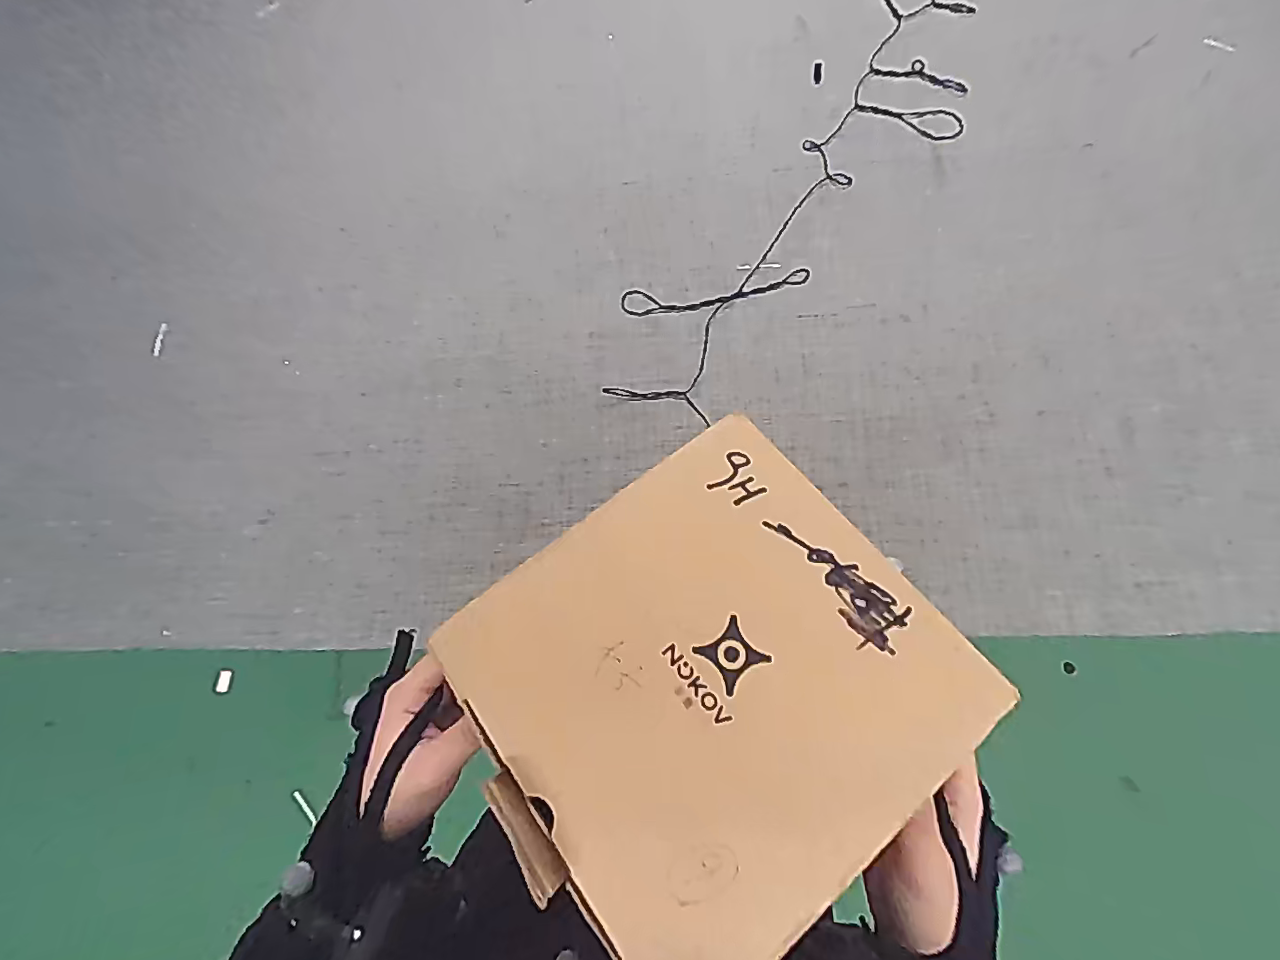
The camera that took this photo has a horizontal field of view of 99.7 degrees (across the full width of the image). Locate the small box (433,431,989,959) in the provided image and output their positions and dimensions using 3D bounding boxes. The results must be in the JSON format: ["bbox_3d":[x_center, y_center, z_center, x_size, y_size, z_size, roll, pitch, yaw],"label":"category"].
[{"bbox_3d":[0.029,0.113,0.298,0.179,0.176,0.168,-36,71,-12],"label":"small box"}]
